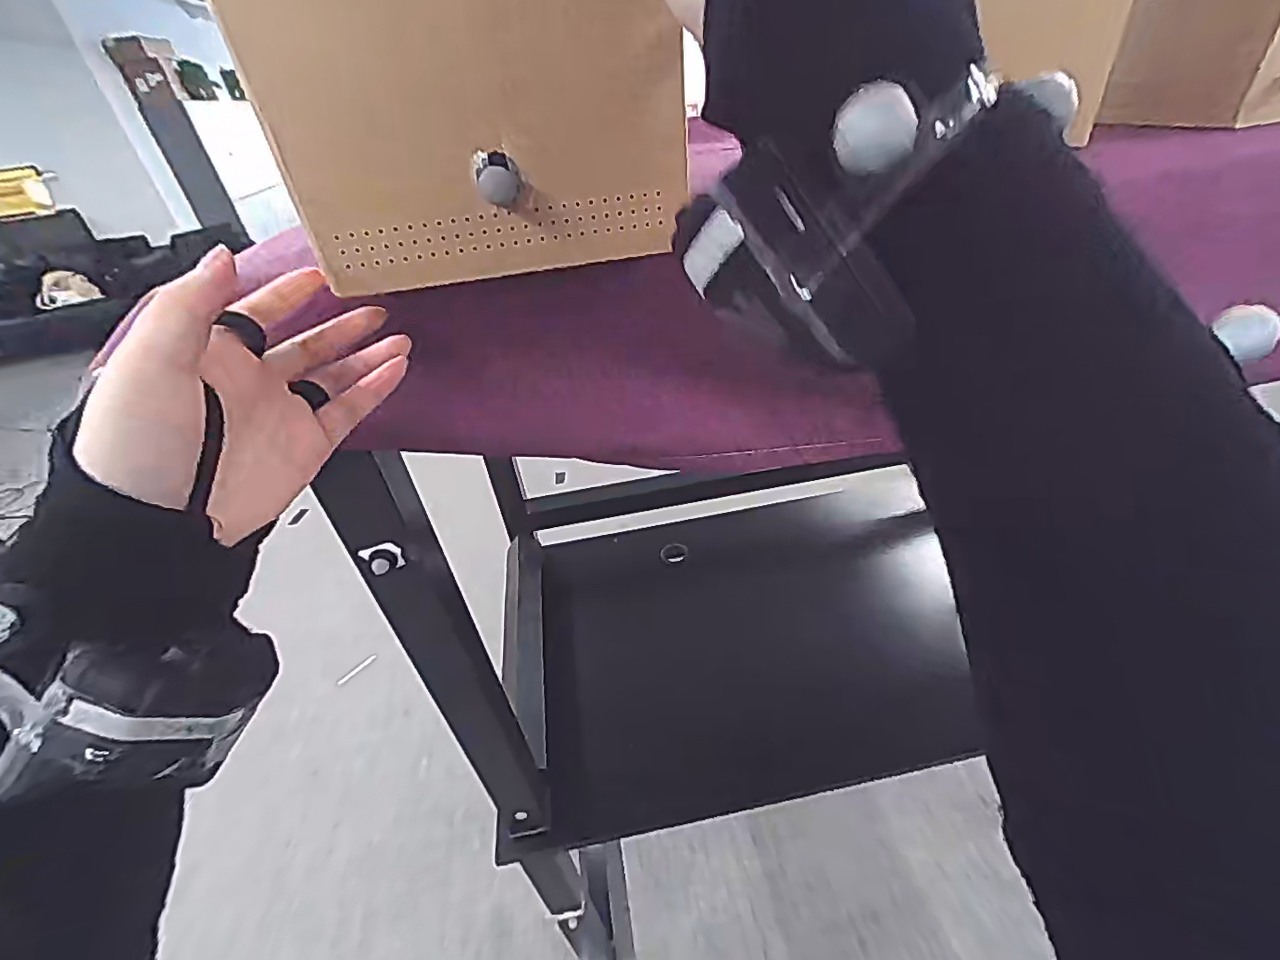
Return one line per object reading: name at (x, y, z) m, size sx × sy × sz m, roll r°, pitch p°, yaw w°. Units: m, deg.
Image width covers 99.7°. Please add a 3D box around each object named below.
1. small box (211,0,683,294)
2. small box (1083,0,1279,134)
small box at (-0.078, -0.208, 0.274) m, size 0.179 × 0.176 × 0.168 m, roll -10°, pitch 36°, yaw -6°
small box at (0.463, -0.362, 0.394) m, size 0.168 × 0.176 × 0.179 m, roll -10°, pitch 34°, yaw -4°
